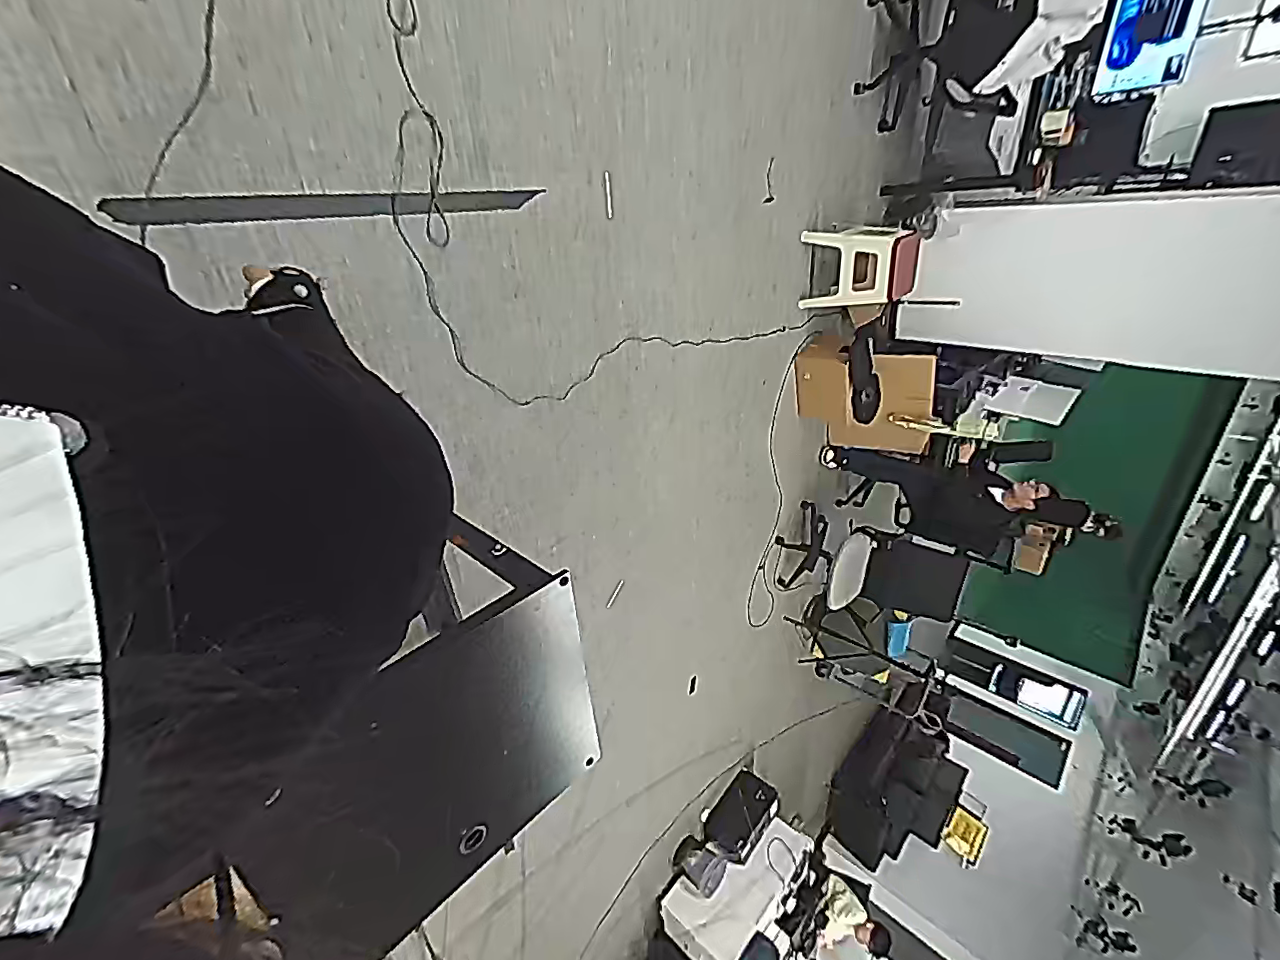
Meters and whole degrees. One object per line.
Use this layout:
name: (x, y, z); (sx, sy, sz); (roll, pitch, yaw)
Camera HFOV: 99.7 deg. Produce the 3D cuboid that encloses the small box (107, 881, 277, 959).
small box: (-0.595, 0.697, 0.719); (0.179, 0.176, 0.168); (-26, 124, -39)
